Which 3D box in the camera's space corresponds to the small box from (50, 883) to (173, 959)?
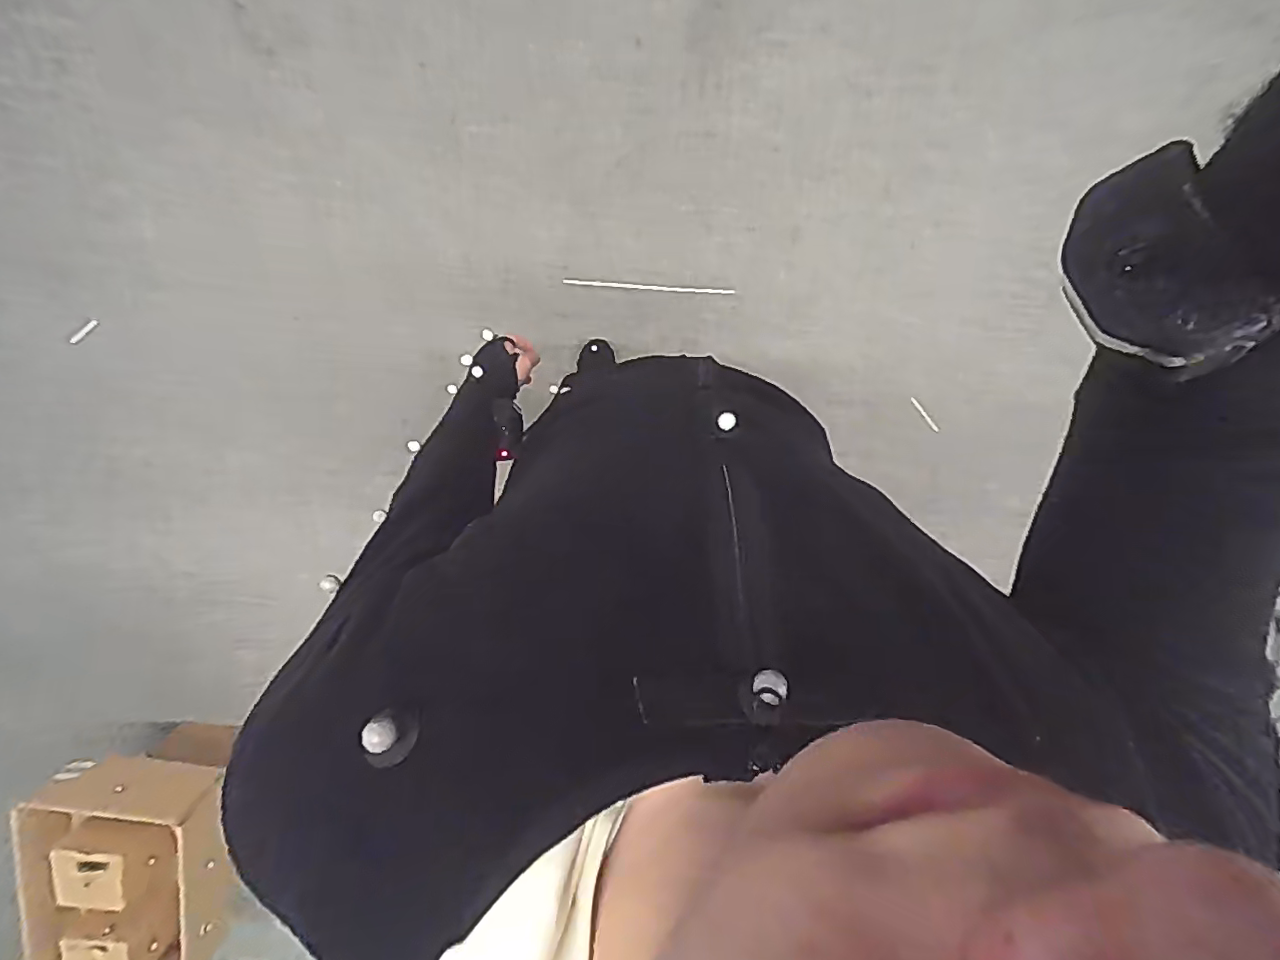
[{"bbox_3d":[-1.400,1.233,1.446,0.168,0.176,0.179,7,104,-4],"label":"small box"}]
